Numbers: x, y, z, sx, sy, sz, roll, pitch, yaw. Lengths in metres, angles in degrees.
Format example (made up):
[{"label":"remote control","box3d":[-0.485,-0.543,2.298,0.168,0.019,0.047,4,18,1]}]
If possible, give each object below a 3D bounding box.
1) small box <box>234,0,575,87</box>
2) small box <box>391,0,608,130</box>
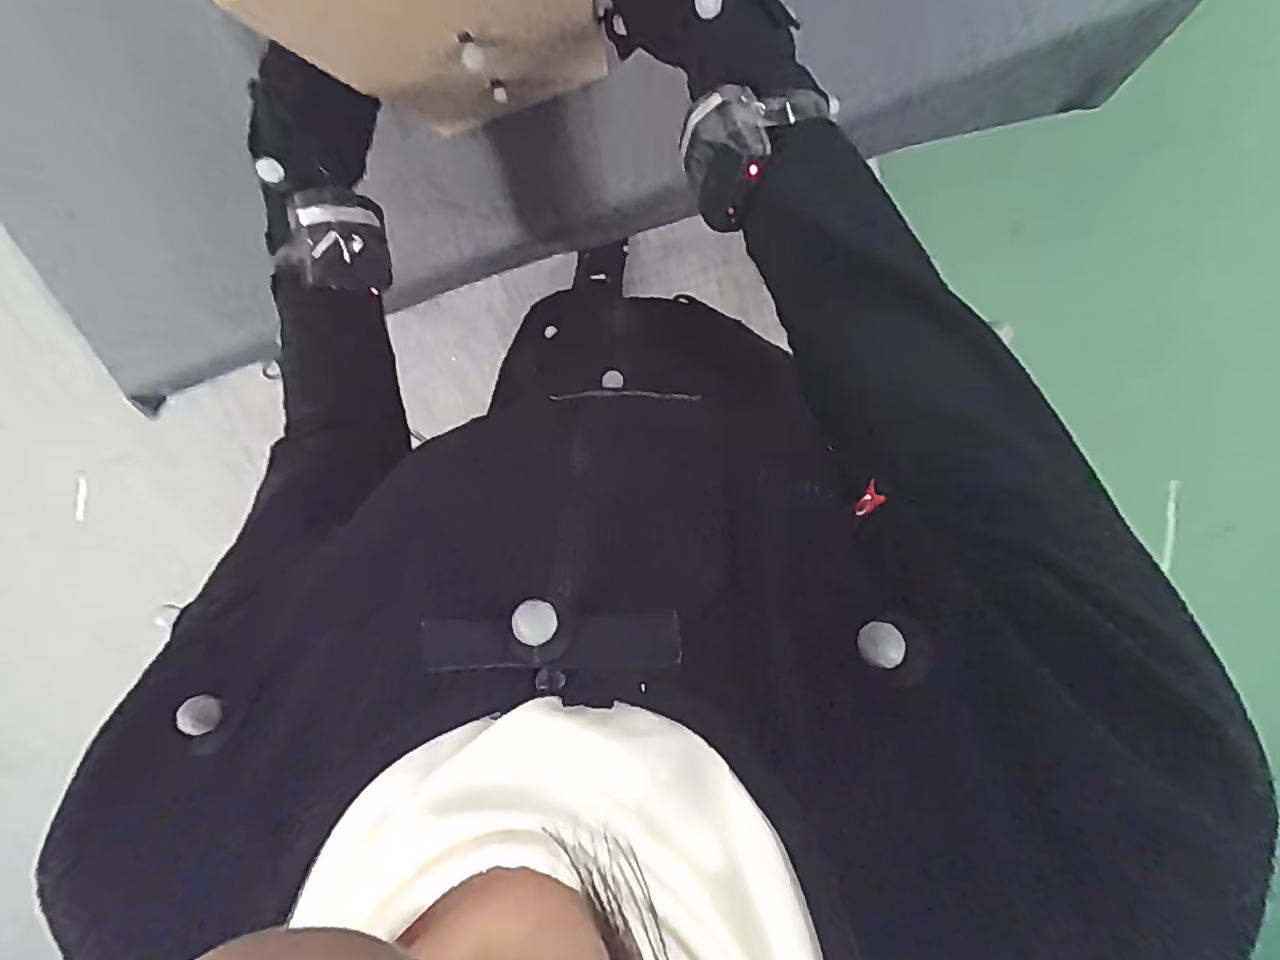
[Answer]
[{"label":"small box","box3d":[-0.135,-0.350,0.289,0.179,0.176,0.168,-16,111,6]},{"label":"small box","box3d":[-0.134,-0.418,0.438,0.179,0.176,0.168,-20,112,7]}]
